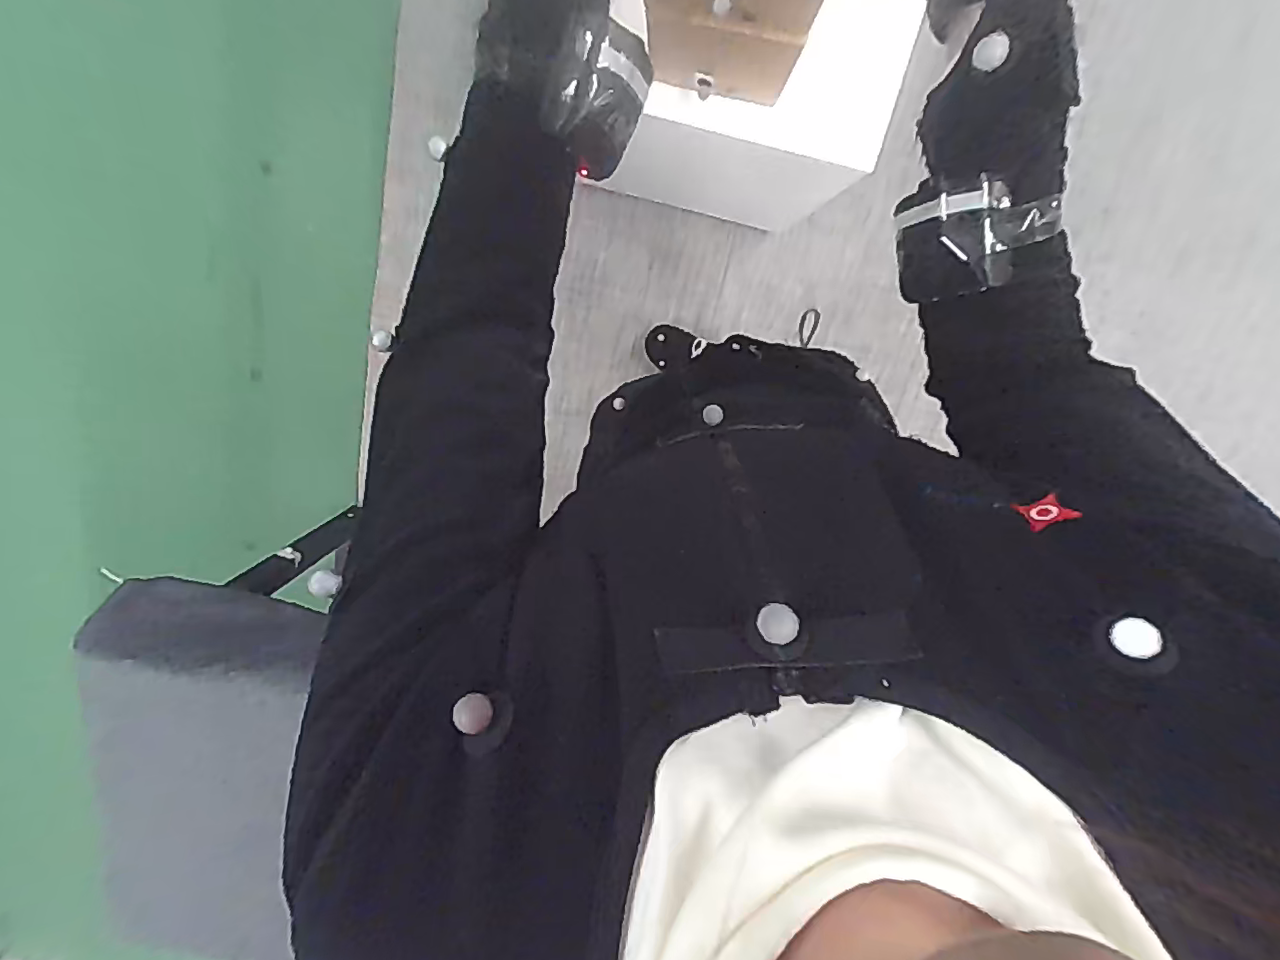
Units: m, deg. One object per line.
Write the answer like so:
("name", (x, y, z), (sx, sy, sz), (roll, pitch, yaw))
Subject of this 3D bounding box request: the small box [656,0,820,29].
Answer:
("small box", (0.091, -0.507, 0.420), (0.168, 0.176, 0.179), (8, 105, 1))

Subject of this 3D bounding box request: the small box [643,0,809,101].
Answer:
("small box", (0.102, -0.548, 0.578), (0.168, 0.176, 0.179), (11, 108, 1))
